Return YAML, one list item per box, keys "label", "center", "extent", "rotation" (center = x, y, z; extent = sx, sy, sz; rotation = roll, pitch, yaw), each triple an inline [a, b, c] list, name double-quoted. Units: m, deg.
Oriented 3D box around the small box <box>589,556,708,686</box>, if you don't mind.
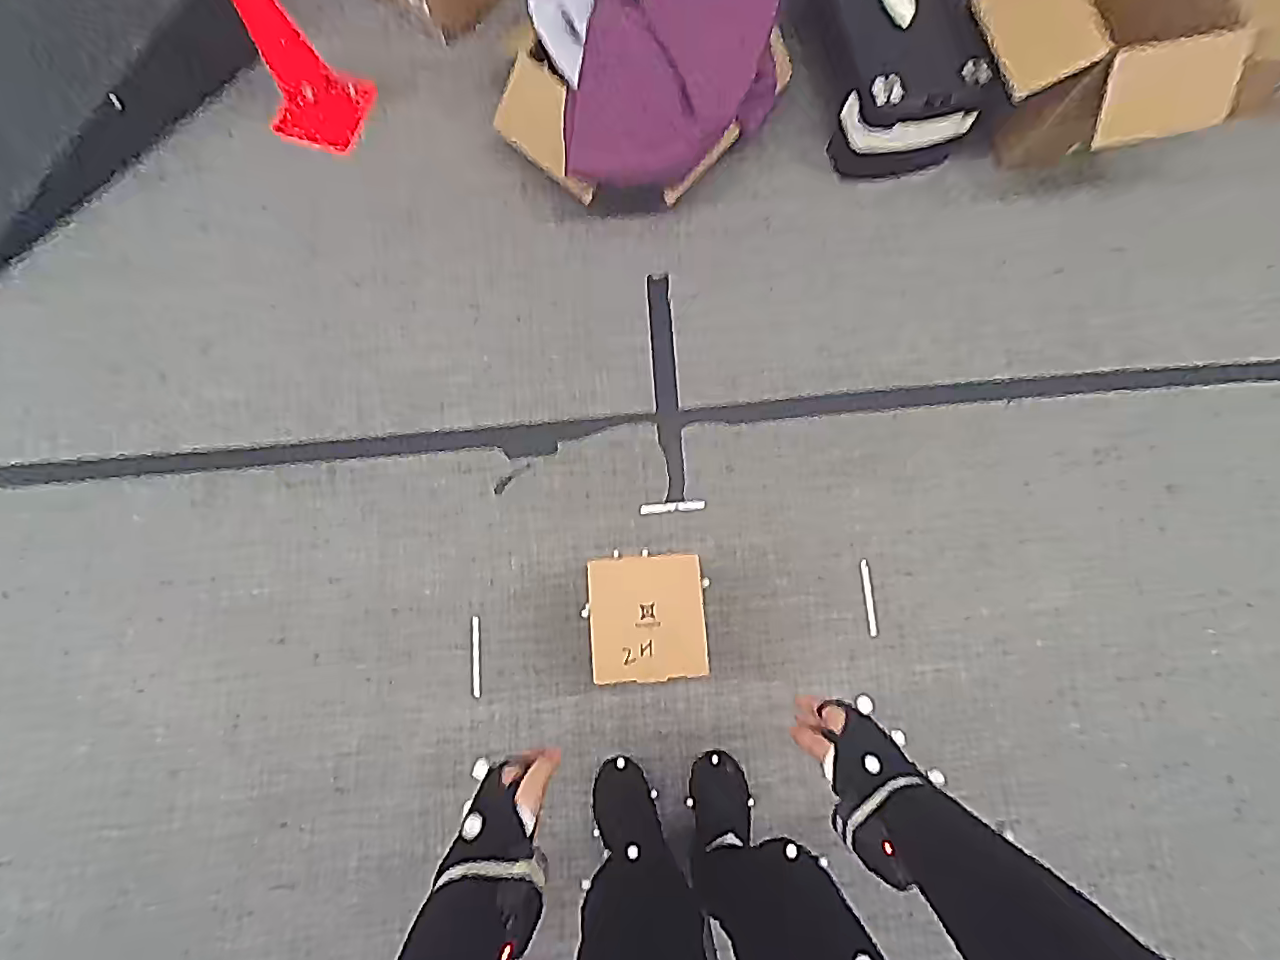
- label: "small box"
  center: [0.009, 0.217, 0.854]
  extent: [0.168, 0.176, 0.179]
  rotation: [-4, 79, -1]
